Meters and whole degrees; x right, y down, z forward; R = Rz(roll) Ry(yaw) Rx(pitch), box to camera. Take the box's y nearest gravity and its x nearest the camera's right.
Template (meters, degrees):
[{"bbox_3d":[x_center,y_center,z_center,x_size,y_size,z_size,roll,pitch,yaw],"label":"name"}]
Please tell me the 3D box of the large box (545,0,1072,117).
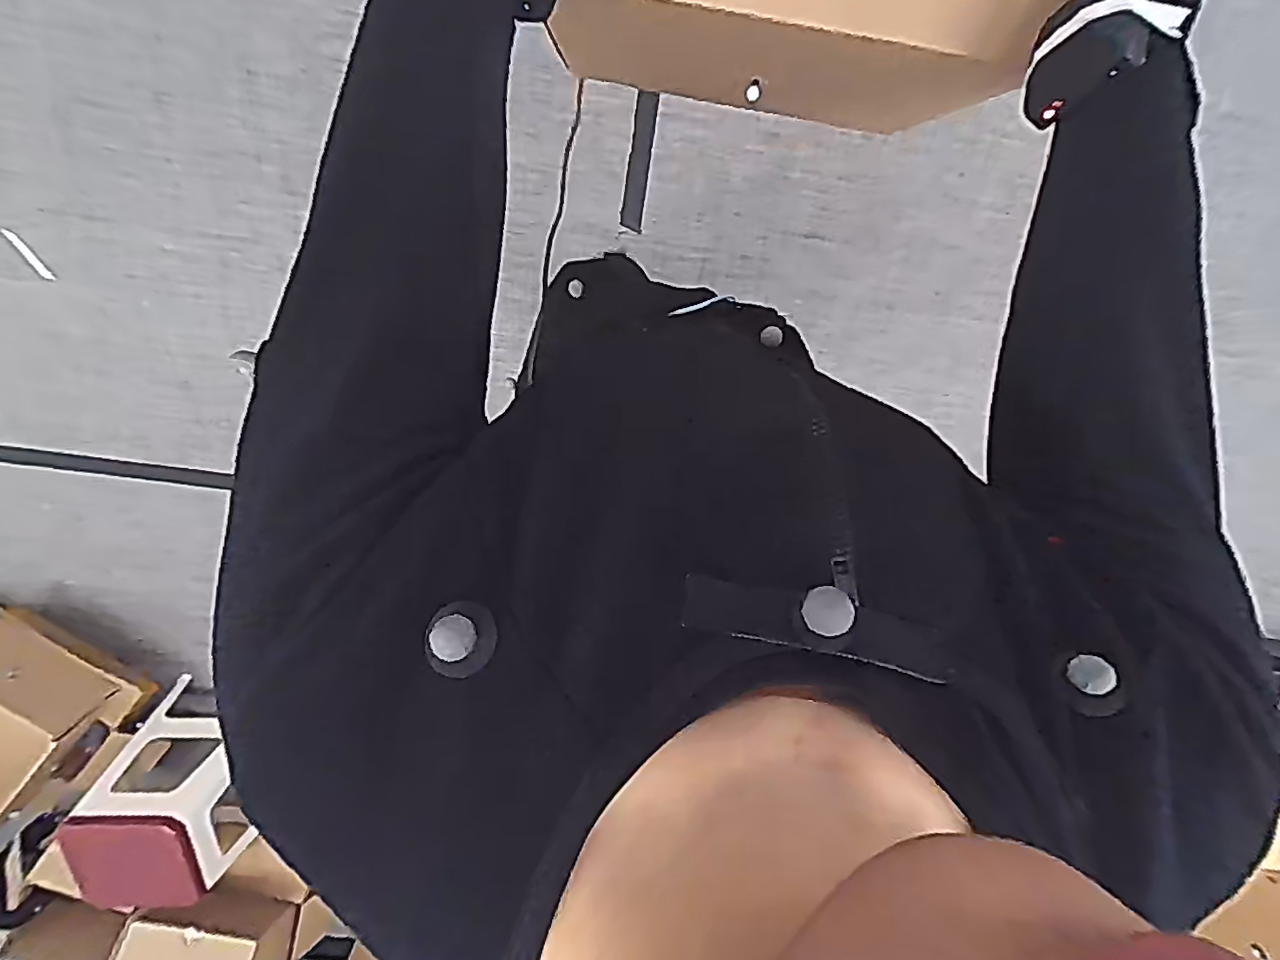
[{"bbox_3d":[0.138,-0.542,0.464,0.408,0.320,0.320,9,115,-3],"label":"large box"}]
